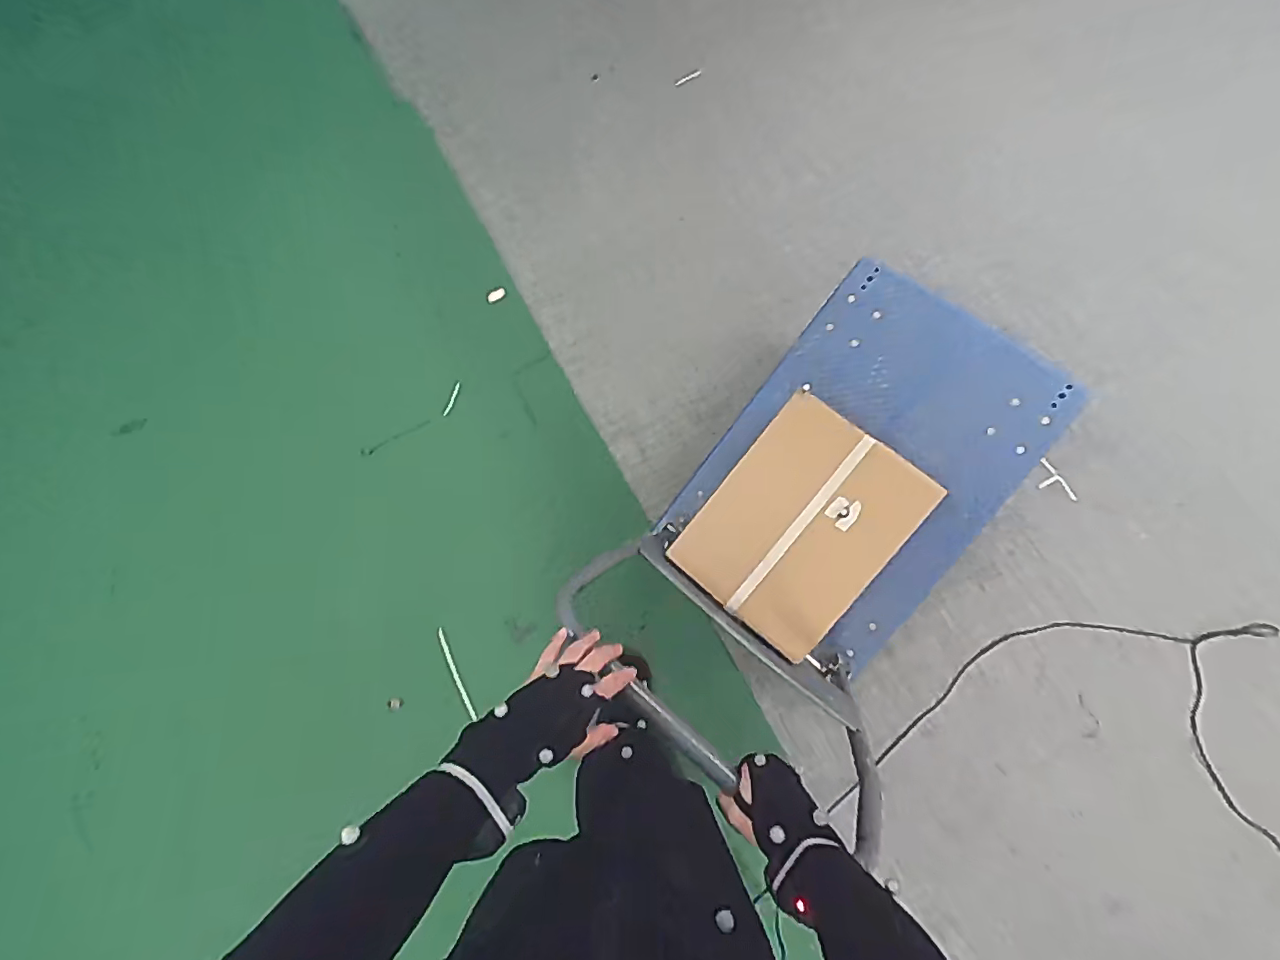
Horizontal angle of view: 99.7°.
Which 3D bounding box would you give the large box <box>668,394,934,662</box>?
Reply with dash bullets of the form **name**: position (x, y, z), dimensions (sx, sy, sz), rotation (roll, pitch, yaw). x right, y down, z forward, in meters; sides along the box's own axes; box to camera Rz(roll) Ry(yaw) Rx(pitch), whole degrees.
- **large box**: position (0.318, 0.100, 1.138), dimensions (0.320, 0.320, 0.408), rotation (39, 94, 13)
